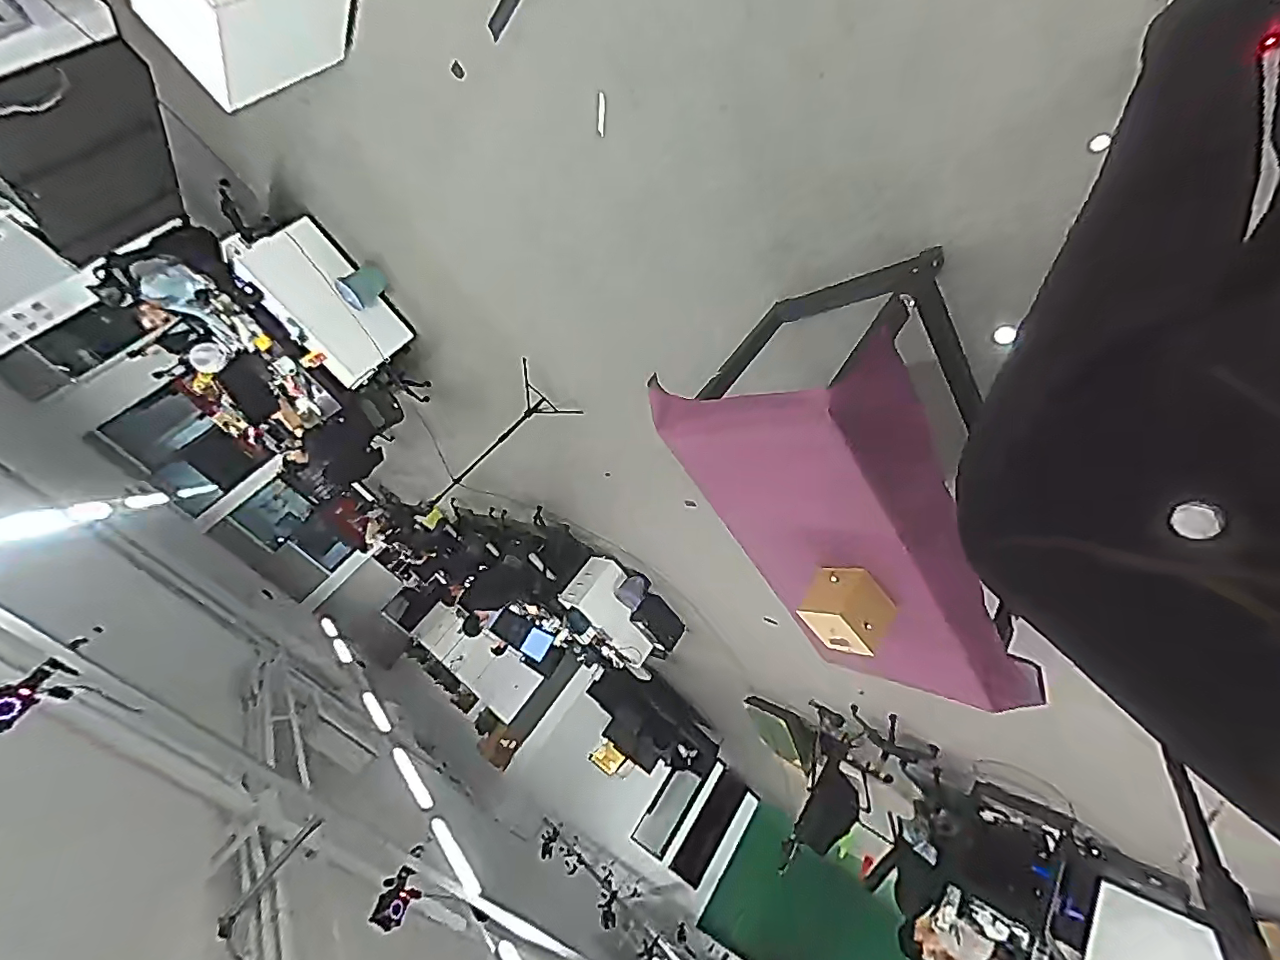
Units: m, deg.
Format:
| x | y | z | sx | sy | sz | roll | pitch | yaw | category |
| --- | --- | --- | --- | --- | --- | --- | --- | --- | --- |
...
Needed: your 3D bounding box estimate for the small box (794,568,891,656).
| x | y | z | sx | sy | sz | roll | pitch | yaw | category |
| --- | --- | --- | --- | --- | --- | --- | --- | --- | --- |
| 0.588 | 0.375 | 1.560 | 0.179 | 0.176 | 0.168 | 48 | 154 | -15 | small box |
